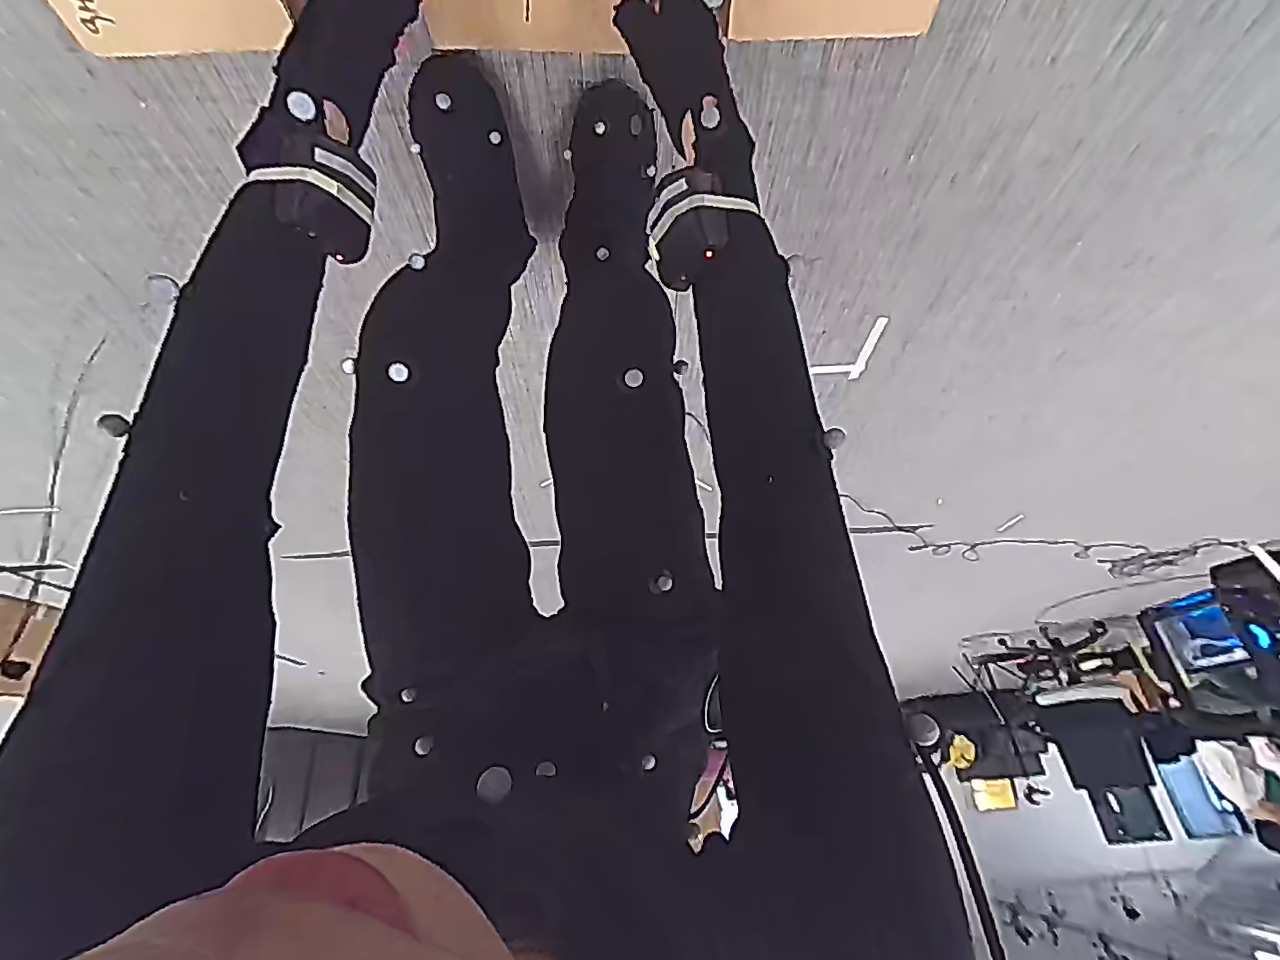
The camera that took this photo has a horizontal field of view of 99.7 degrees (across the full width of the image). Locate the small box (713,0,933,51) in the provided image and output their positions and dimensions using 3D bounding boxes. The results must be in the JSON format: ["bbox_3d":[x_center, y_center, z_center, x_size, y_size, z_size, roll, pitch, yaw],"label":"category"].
[{"bbox_3d":[0.147,-0.480,0.430,0.179,0.176,0.168,-4,153,-2],"label":"small box"}]

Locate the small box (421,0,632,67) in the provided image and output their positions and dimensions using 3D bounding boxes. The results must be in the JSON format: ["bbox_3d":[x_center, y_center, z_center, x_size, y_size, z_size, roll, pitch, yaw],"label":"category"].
[{"bbox_3d":[-0.091,-0.465,0.421,0.168,0.176,0.179,-1,152,-5],"label":"small box"}]

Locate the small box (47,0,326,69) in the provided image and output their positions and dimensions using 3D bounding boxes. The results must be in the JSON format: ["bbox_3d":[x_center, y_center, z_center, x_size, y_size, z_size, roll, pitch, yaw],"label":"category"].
[{"bbox_3d":[-0.364,-0.452,0.412,0.179,0.176,0.168,-4,151,-2],"label":"small box"}]
